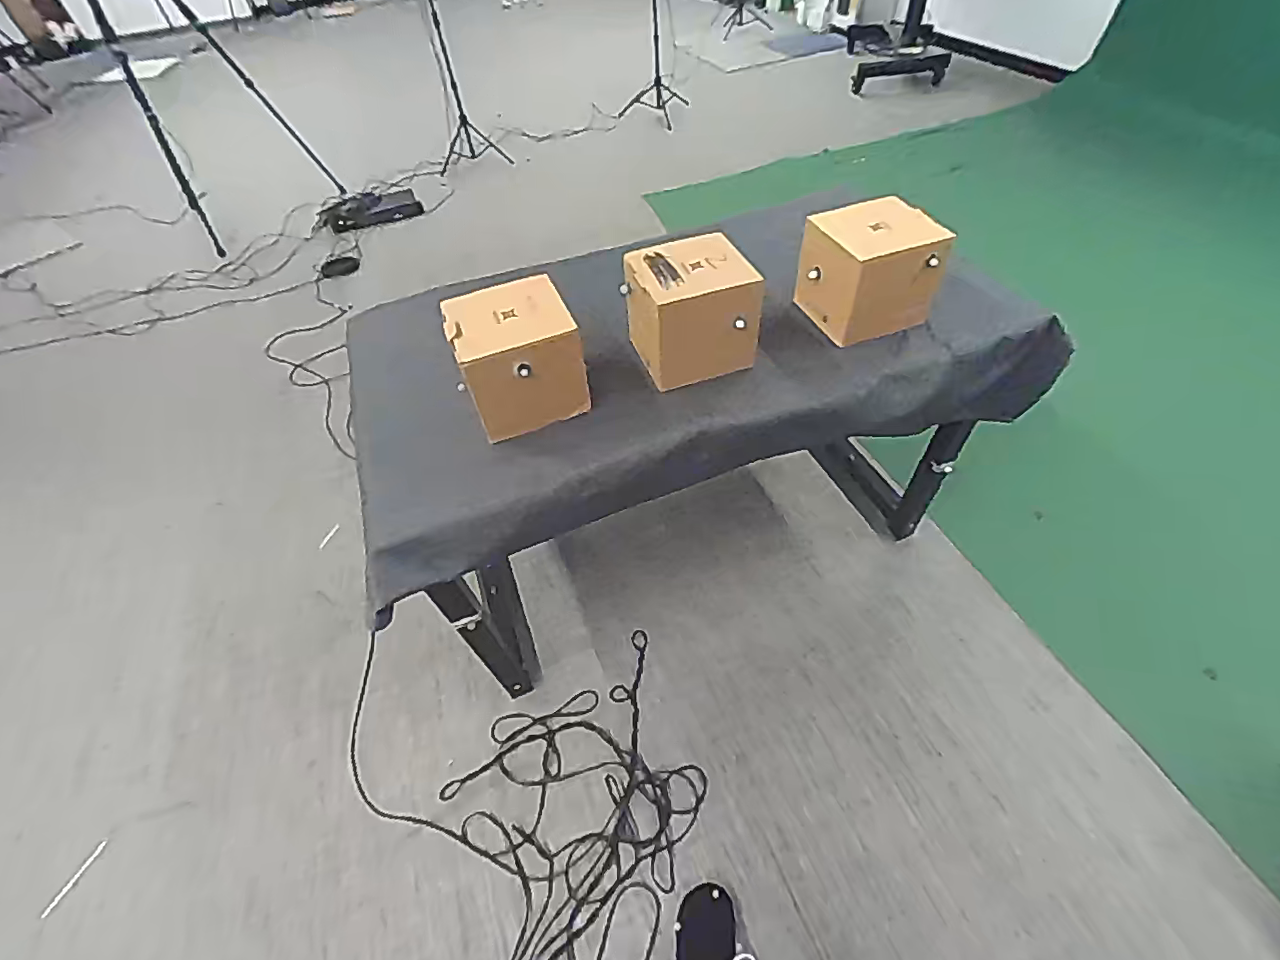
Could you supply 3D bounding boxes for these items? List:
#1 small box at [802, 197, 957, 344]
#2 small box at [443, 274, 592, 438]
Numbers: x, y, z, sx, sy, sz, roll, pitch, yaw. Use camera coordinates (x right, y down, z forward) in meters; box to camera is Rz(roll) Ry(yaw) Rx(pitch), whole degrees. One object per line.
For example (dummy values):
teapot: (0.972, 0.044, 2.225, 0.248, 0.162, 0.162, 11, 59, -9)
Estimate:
small box: (0.400, -0.362, 0.946, 0.179, 0.176, 0.168, -17, 51, -9)
small box: (-0.190, -0.193, 0.861, 0.179, 0.176, 0.168, -19, 53, -12)
